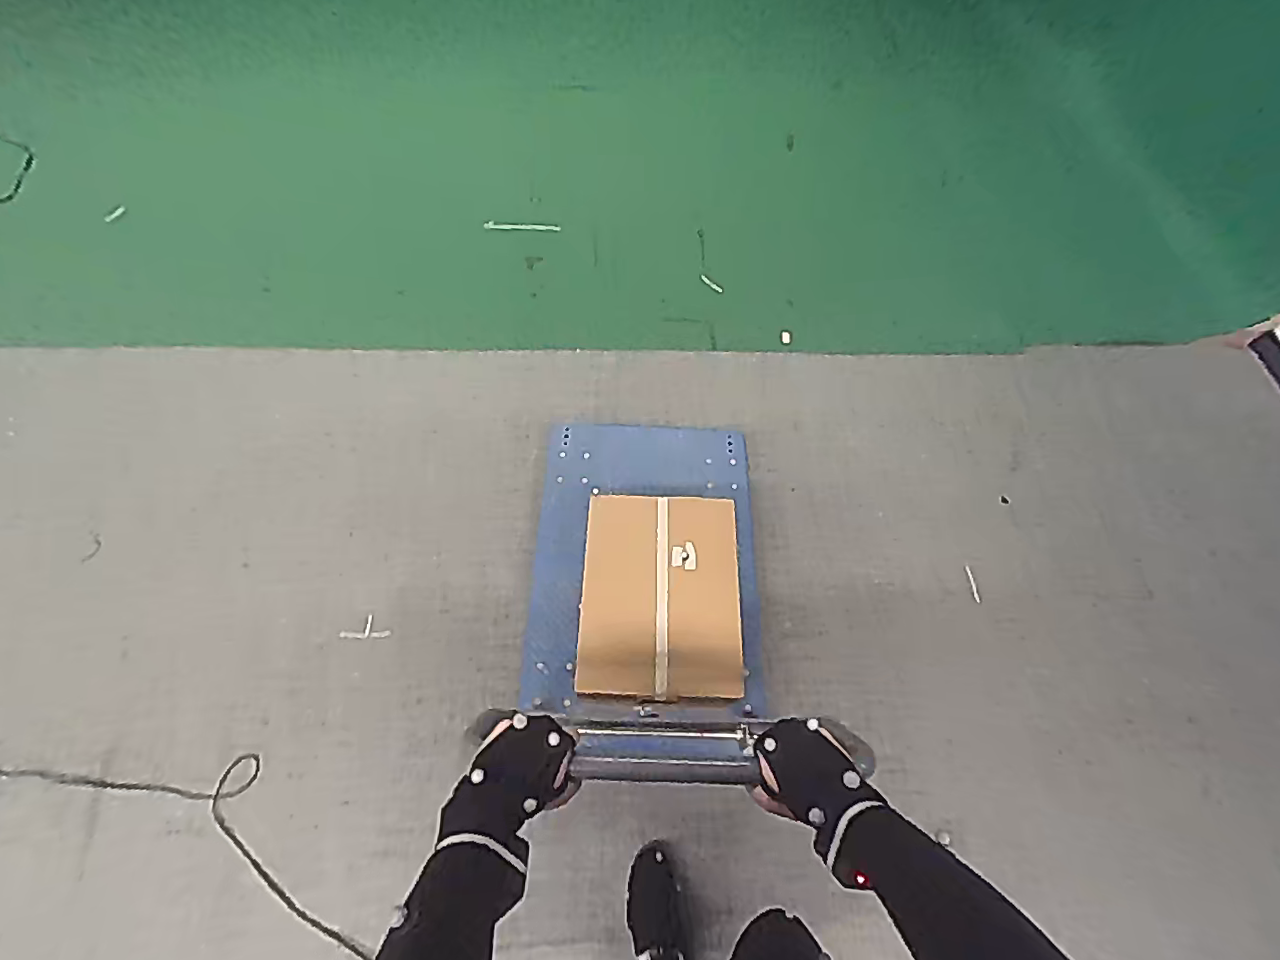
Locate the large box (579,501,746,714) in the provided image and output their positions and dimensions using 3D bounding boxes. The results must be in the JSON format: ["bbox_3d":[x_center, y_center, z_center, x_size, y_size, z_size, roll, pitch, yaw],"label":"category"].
[{"bbox_3d":[0.040,0.294,1.210,0.320,0.320,0.408,2,61,-2],"label":"large box"}]
